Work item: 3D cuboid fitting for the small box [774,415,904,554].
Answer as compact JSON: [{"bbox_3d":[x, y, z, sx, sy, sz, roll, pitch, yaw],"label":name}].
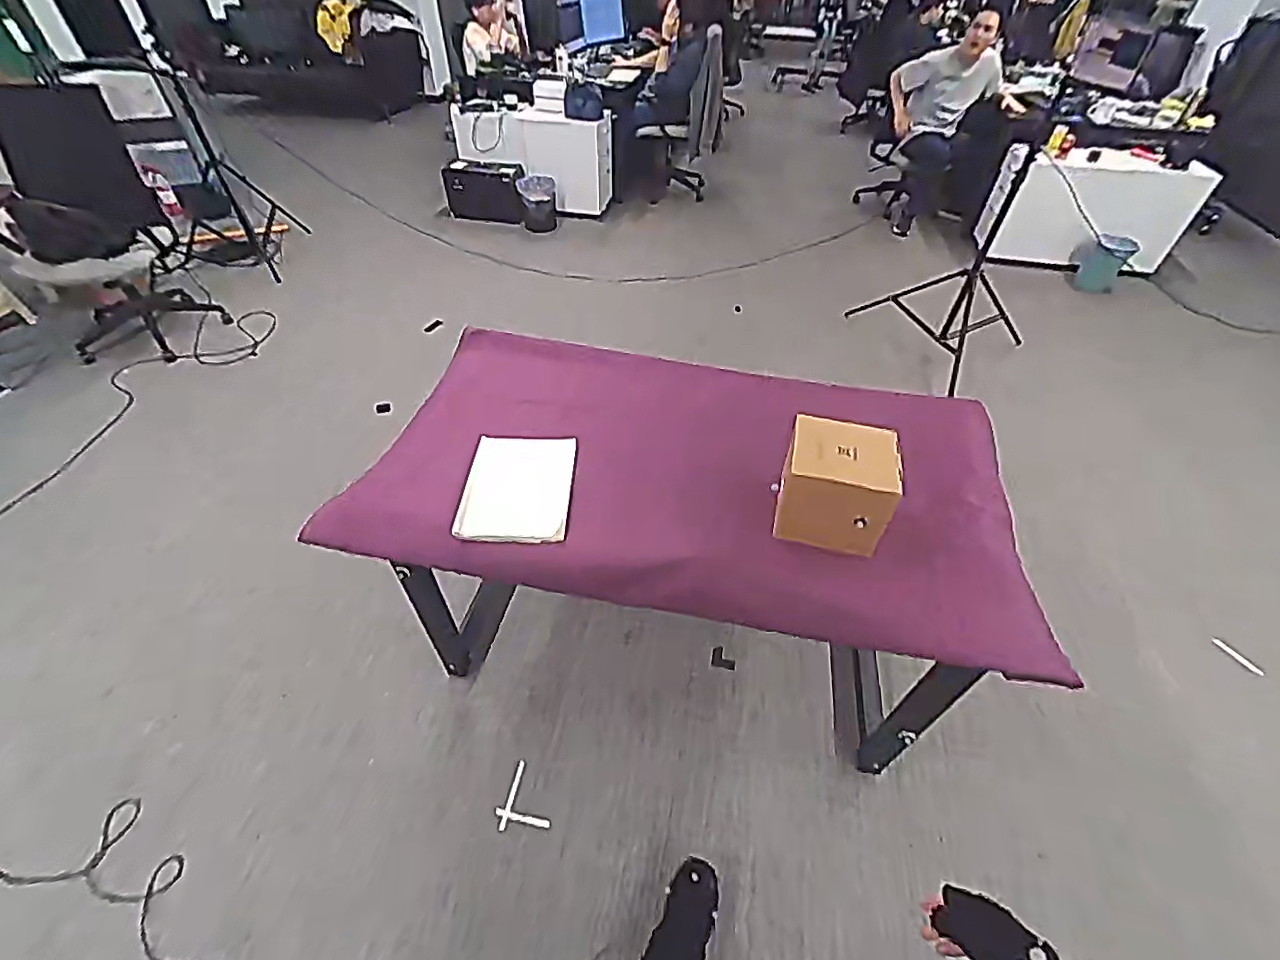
[{"bbox_3d":[0.348,0.010,0.965,0.179,0.176,0.168,10,44,11],"label":"small box"}]
